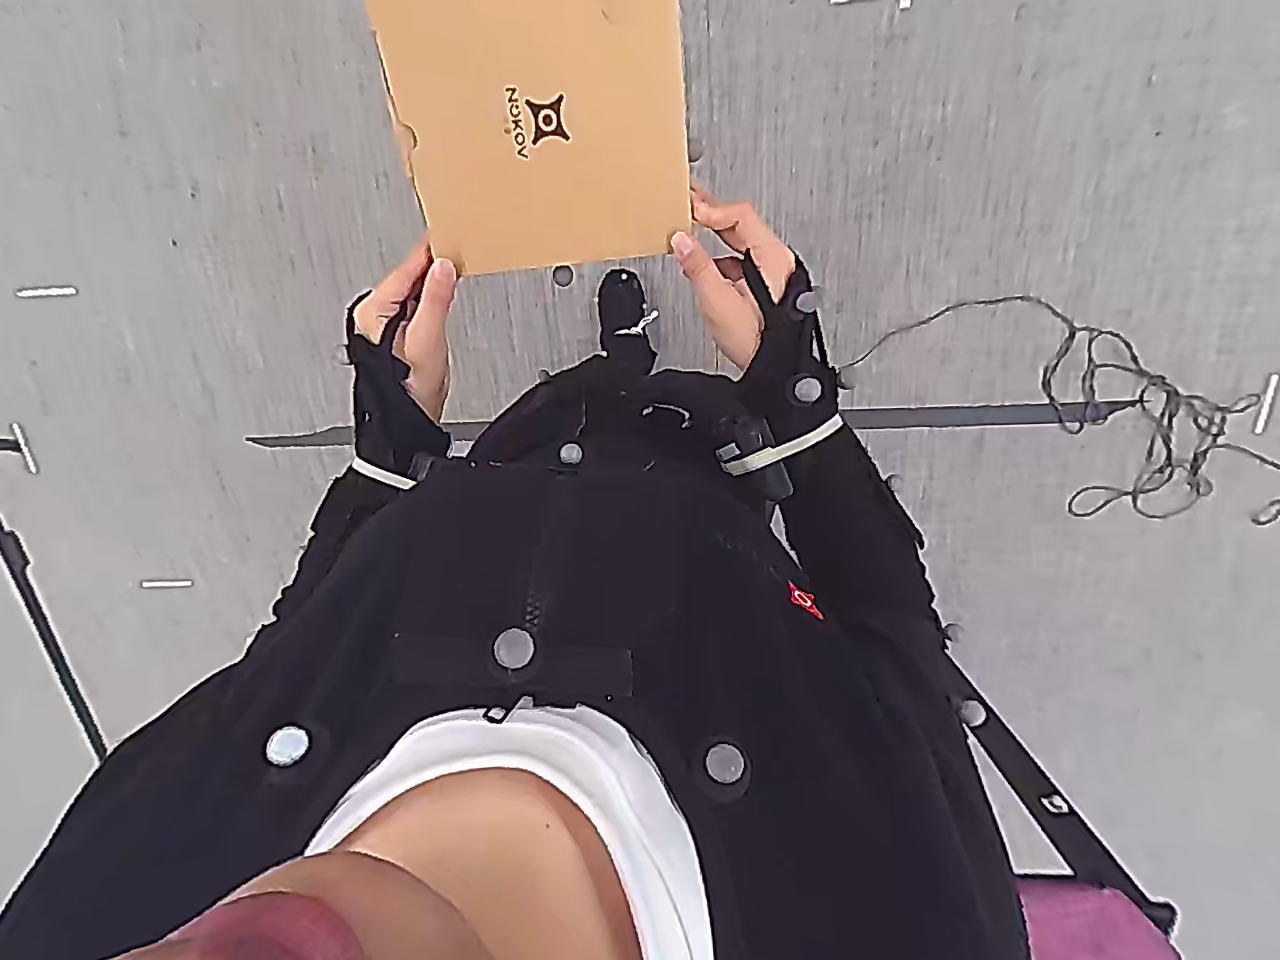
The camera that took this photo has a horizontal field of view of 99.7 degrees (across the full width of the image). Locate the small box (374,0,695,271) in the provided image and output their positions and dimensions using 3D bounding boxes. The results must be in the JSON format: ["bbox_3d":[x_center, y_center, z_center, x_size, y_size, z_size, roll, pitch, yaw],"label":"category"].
[{"bbox_3d":[-0.056,-0.259,0.400,0.179,0.176,0.168,-4,118,5],"label":"small box"}]
